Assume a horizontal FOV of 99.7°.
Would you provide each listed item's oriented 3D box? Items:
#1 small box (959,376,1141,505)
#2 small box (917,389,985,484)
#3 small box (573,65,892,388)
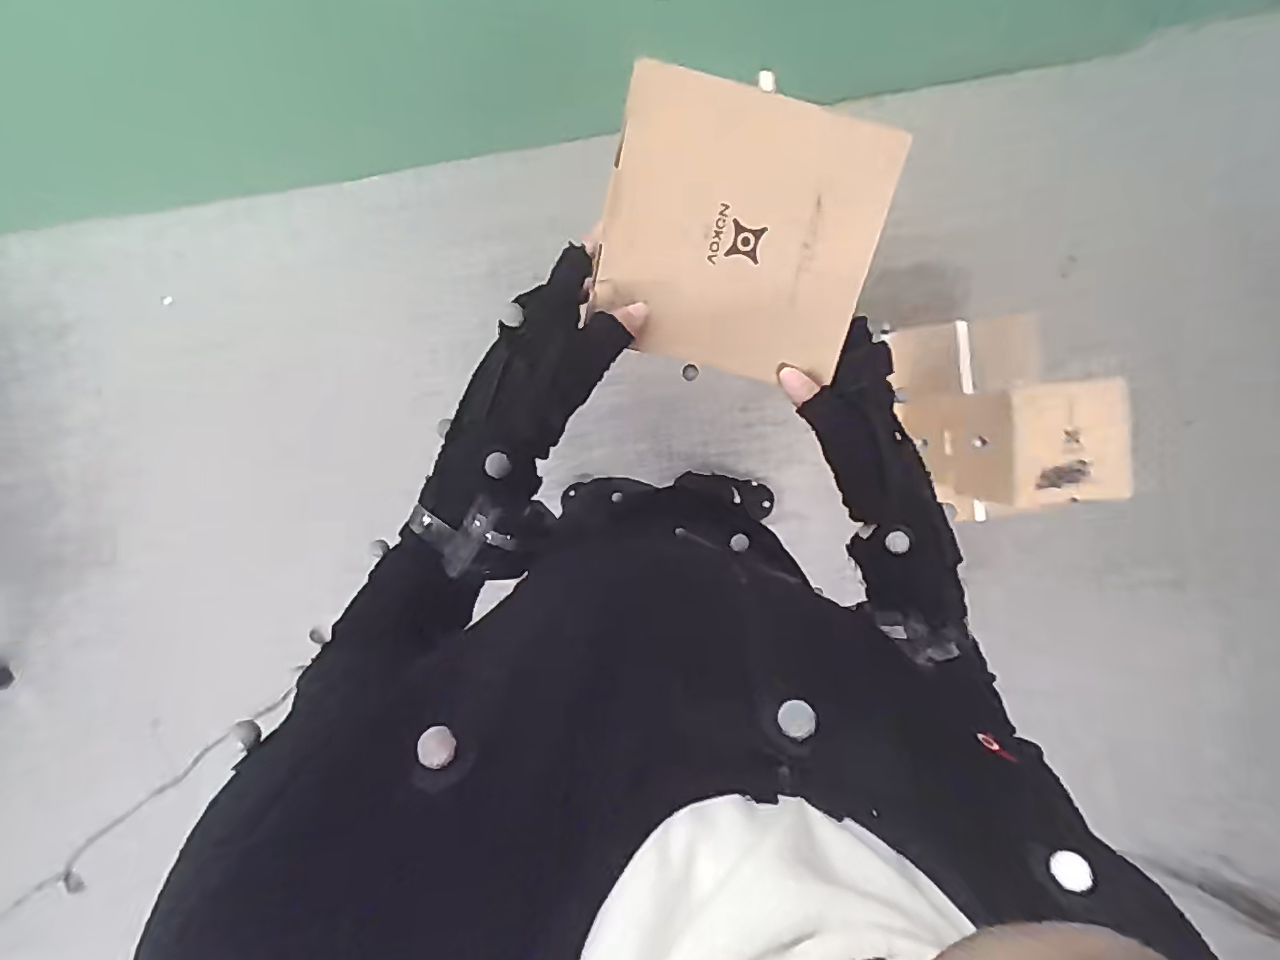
[{"bbox_3d":[0.628,-0.061,0.848,0.168,0.176,0.179,-5,93,3],"label":"small box"},{"bbox_3d":[0.638,-0.082,1.011,0.179,0.176,0.168,-4,94,4],"label":"small box"},{"bbox_3d":[0.052,-0.179,0.422,0.179,0.176,0.168,9,109,-5],"label":"small box"}]
